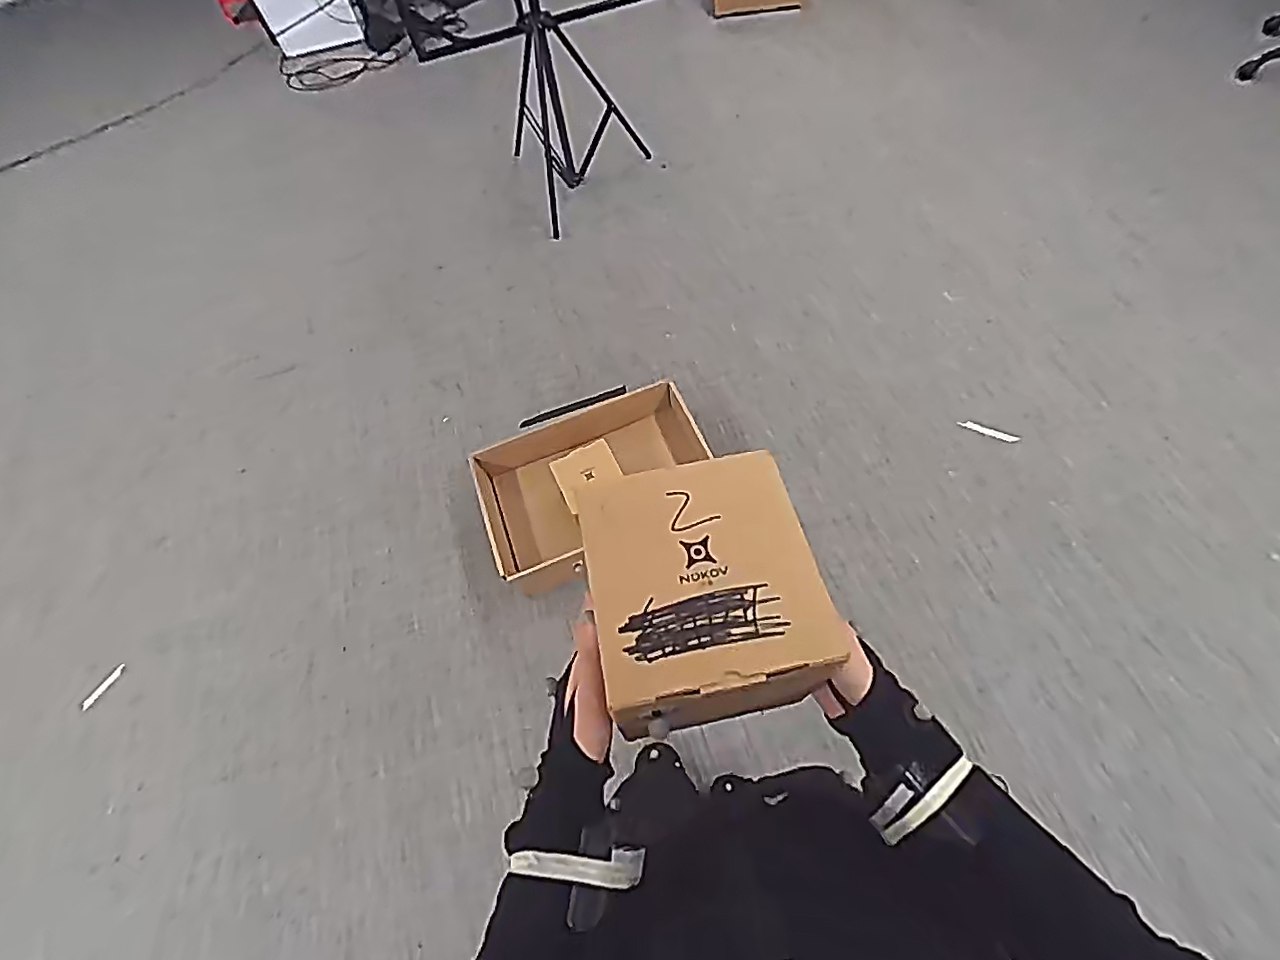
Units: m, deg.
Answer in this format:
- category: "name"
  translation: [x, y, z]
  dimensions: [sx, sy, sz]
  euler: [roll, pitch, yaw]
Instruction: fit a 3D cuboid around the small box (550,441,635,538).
- category: "small box"
  translation: [-0.127, 0.030, 1.486]
  dimensions: [0.168, 0.176, 0.179]
  euler: [-27, 64, -7]
